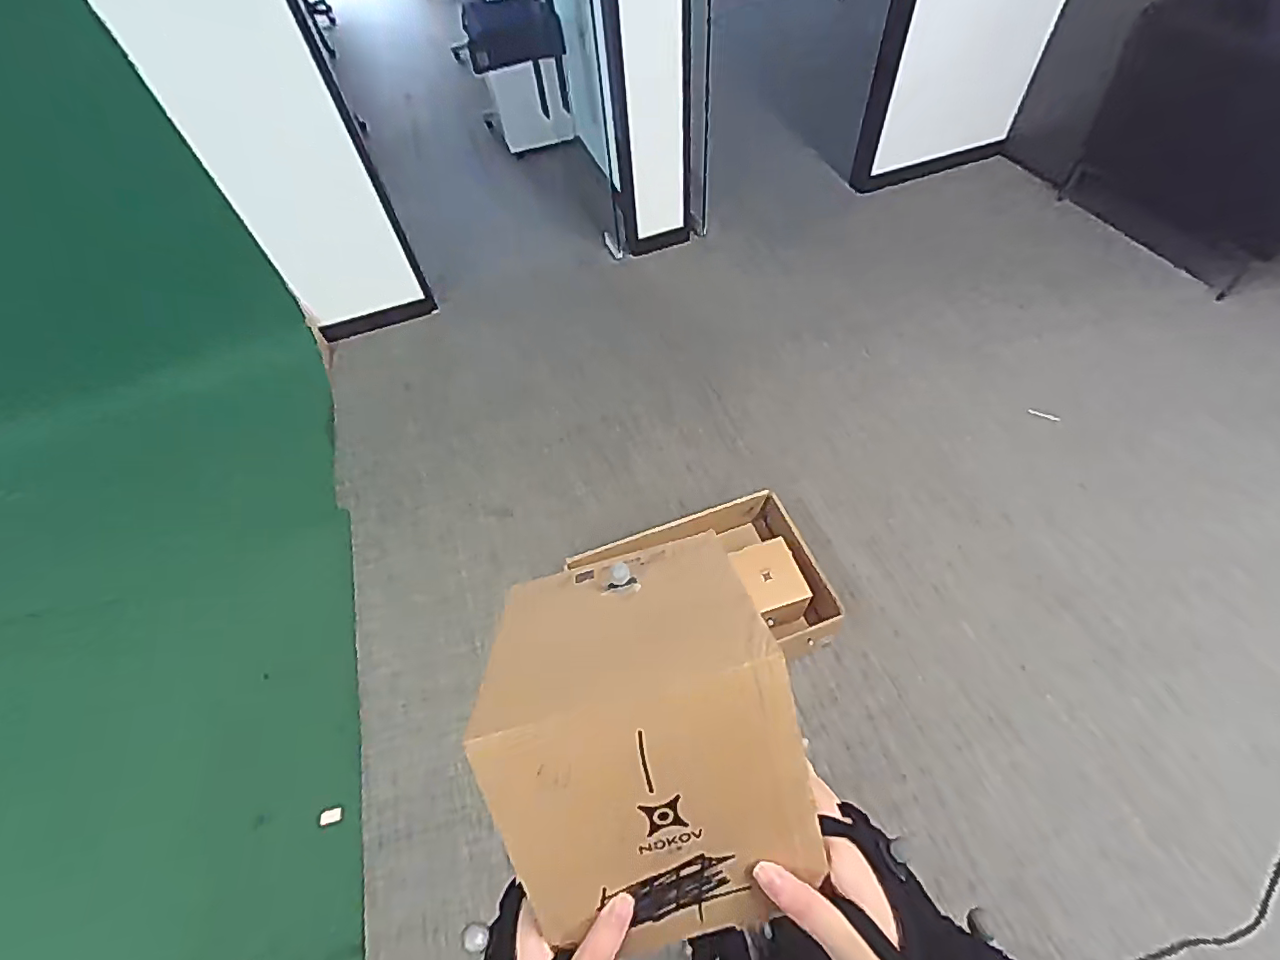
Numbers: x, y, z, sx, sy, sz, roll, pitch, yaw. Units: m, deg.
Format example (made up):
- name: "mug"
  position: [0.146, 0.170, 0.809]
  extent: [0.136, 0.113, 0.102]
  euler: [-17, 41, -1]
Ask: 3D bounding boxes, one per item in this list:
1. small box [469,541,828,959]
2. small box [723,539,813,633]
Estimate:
- name: "small box"
  position: [0.007, 0.166, 0.371]
  extent: [0.168, 0.179, 0.176]
  euler: [-15, 15, -1]
- name: "small box"
  position: [0.324, 0.284, 1.405]
  extent: [0.168, 0.176, 0.179]
  euler: [-17, 55, -6]
